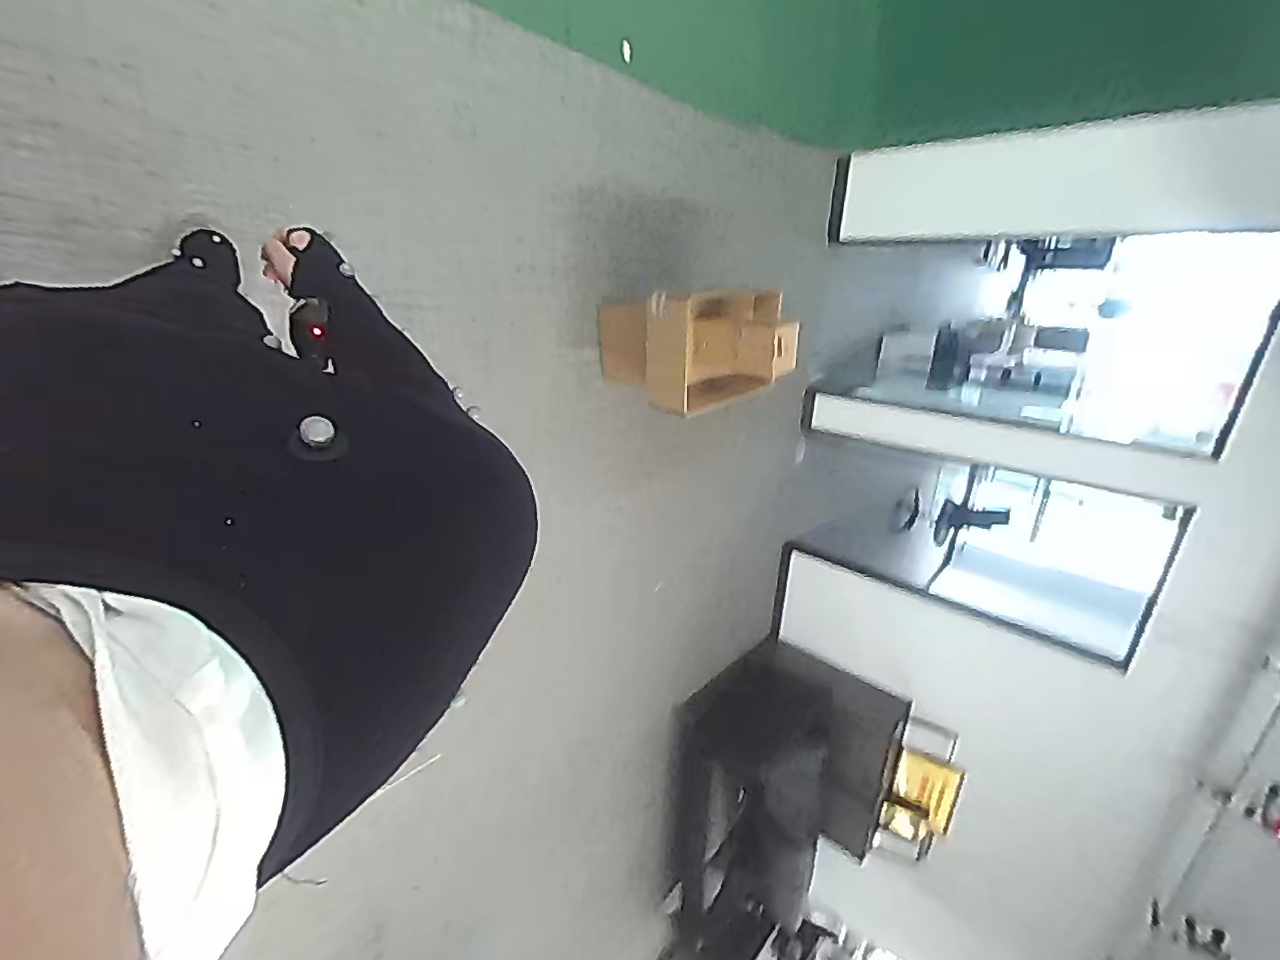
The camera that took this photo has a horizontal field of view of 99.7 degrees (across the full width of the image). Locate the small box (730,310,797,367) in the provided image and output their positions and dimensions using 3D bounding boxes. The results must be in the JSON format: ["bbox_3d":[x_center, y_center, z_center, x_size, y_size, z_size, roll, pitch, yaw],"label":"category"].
[{"bbox_3d":[0.432,-0.502,1.903,0.179,0.176,0.168,-27,125,-44],"label":"small box"}]

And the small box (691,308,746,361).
[{"bbox_3d":[0.308,-0.544,2.002,0.179,0.176,0.168,-24,122,-44],"label":"small box"}]
